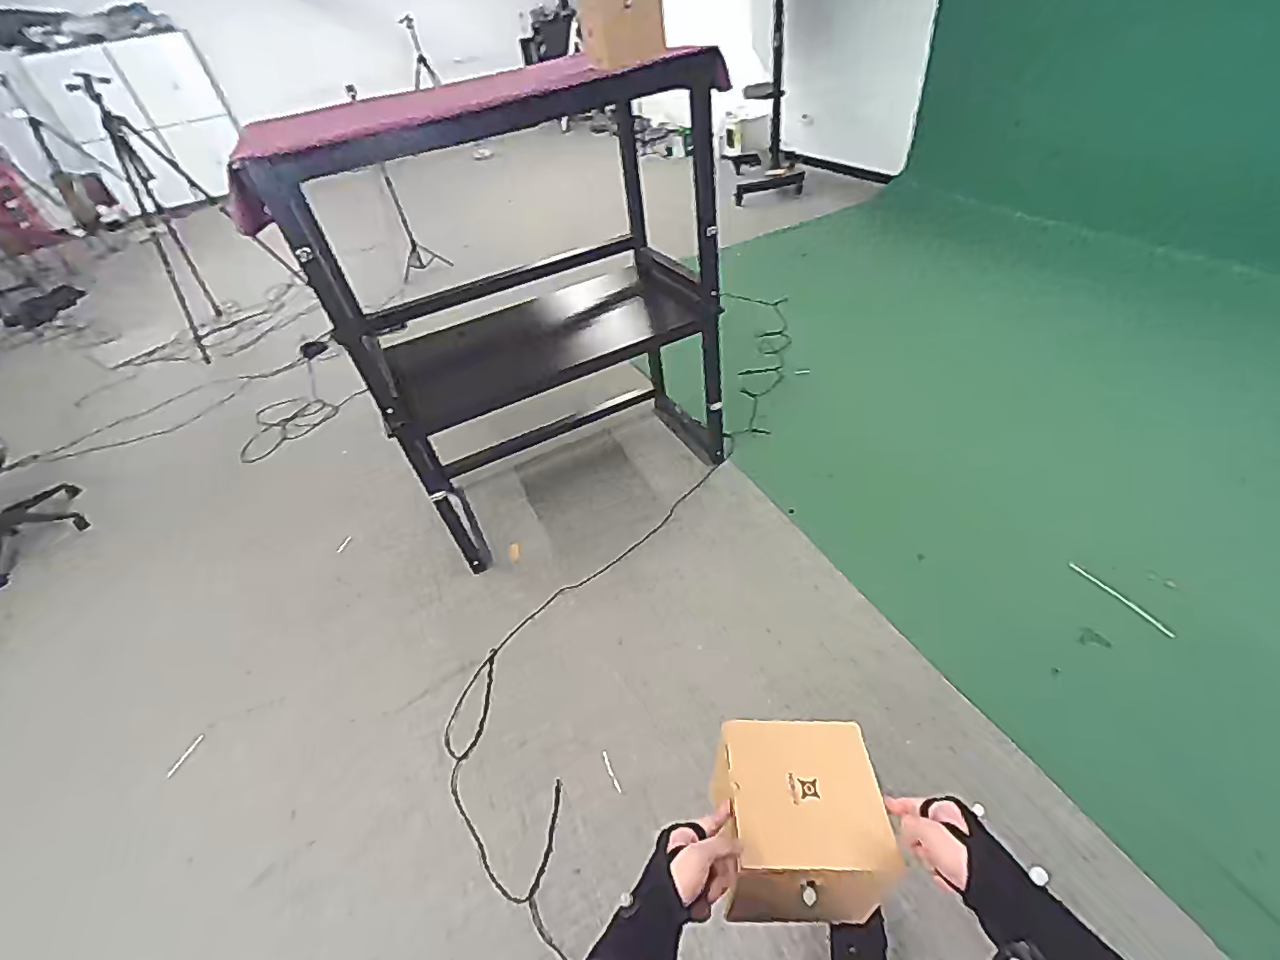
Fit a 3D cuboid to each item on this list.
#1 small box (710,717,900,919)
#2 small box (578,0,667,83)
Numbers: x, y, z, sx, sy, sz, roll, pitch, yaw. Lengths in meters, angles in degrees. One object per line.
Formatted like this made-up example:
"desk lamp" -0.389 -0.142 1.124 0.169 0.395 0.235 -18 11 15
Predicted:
"small box" 0.187 0.420 0.676 0.179 0.176 0.168 0 35 0
"small box" -0.042 -1.166 1.424 0.179 0.176 0.168 -21 44 -11
